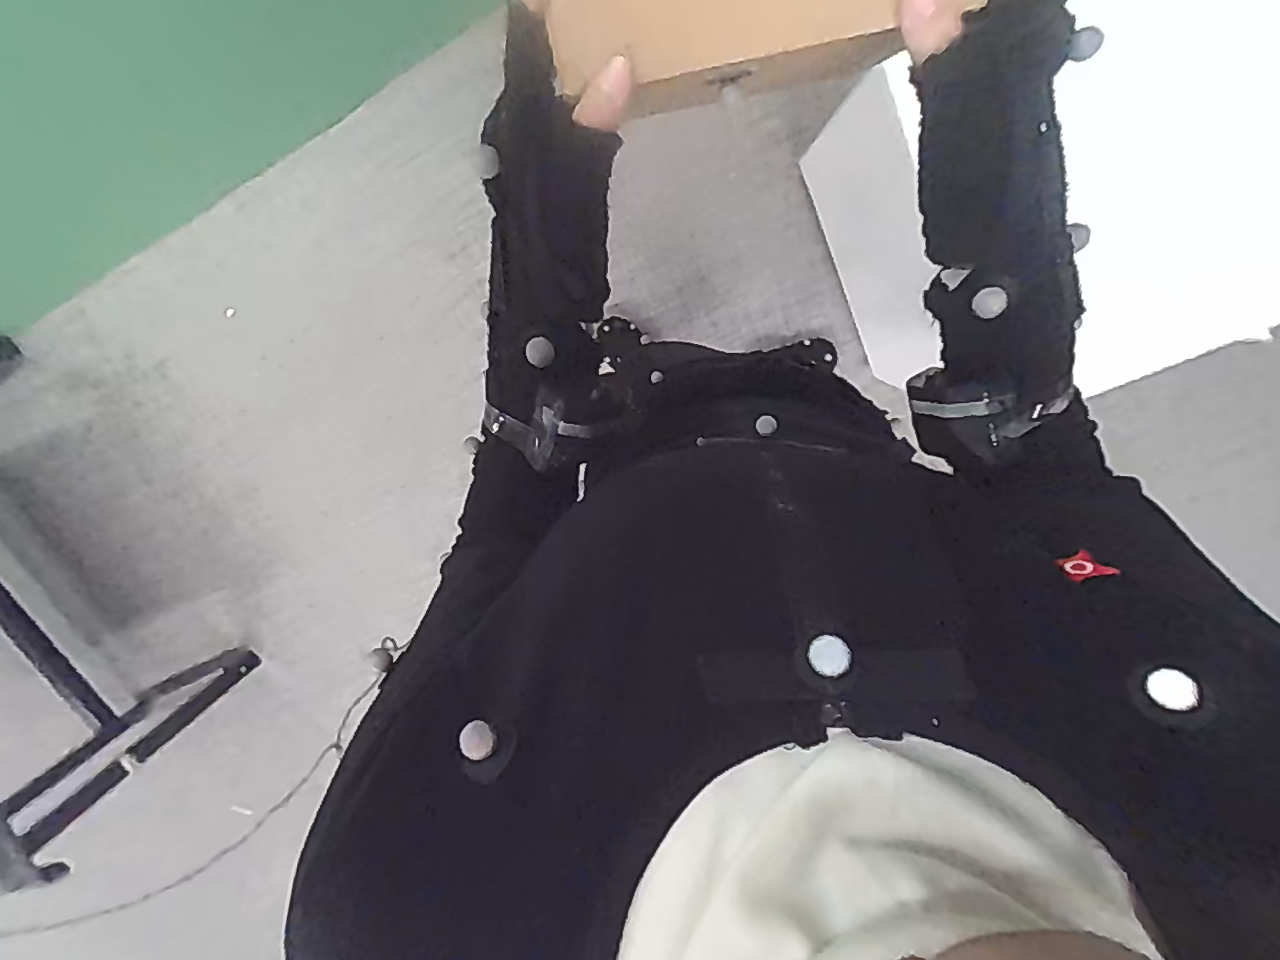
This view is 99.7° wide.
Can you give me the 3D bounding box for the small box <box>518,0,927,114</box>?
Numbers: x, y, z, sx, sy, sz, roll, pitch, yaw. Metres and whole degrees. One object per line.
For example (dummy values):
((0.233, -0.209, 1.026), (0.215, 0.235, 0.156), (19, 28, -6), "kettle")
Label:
((0.032, -0.293, 0.259), (0.179, 0.176, 0.168), (-7, 119, 7), "small box")
